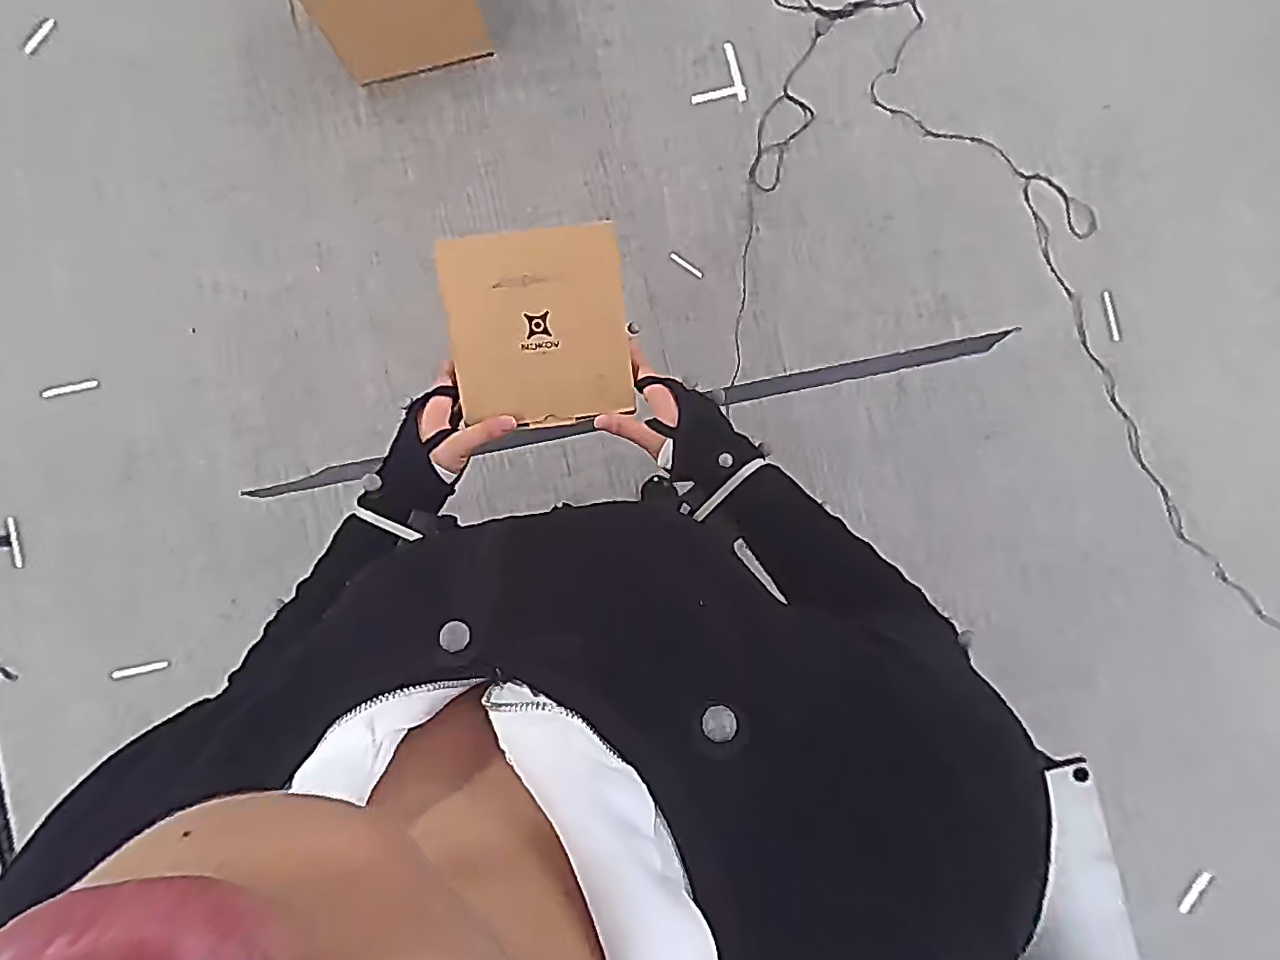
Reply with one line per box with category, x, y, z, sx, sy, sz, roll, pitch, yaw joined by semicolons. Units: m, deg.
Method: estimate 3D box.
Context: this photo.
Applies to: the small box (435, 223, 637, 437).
small box;-0.095;-0.149;0.570;0.168;0.176;0.179;-8;100;-2
